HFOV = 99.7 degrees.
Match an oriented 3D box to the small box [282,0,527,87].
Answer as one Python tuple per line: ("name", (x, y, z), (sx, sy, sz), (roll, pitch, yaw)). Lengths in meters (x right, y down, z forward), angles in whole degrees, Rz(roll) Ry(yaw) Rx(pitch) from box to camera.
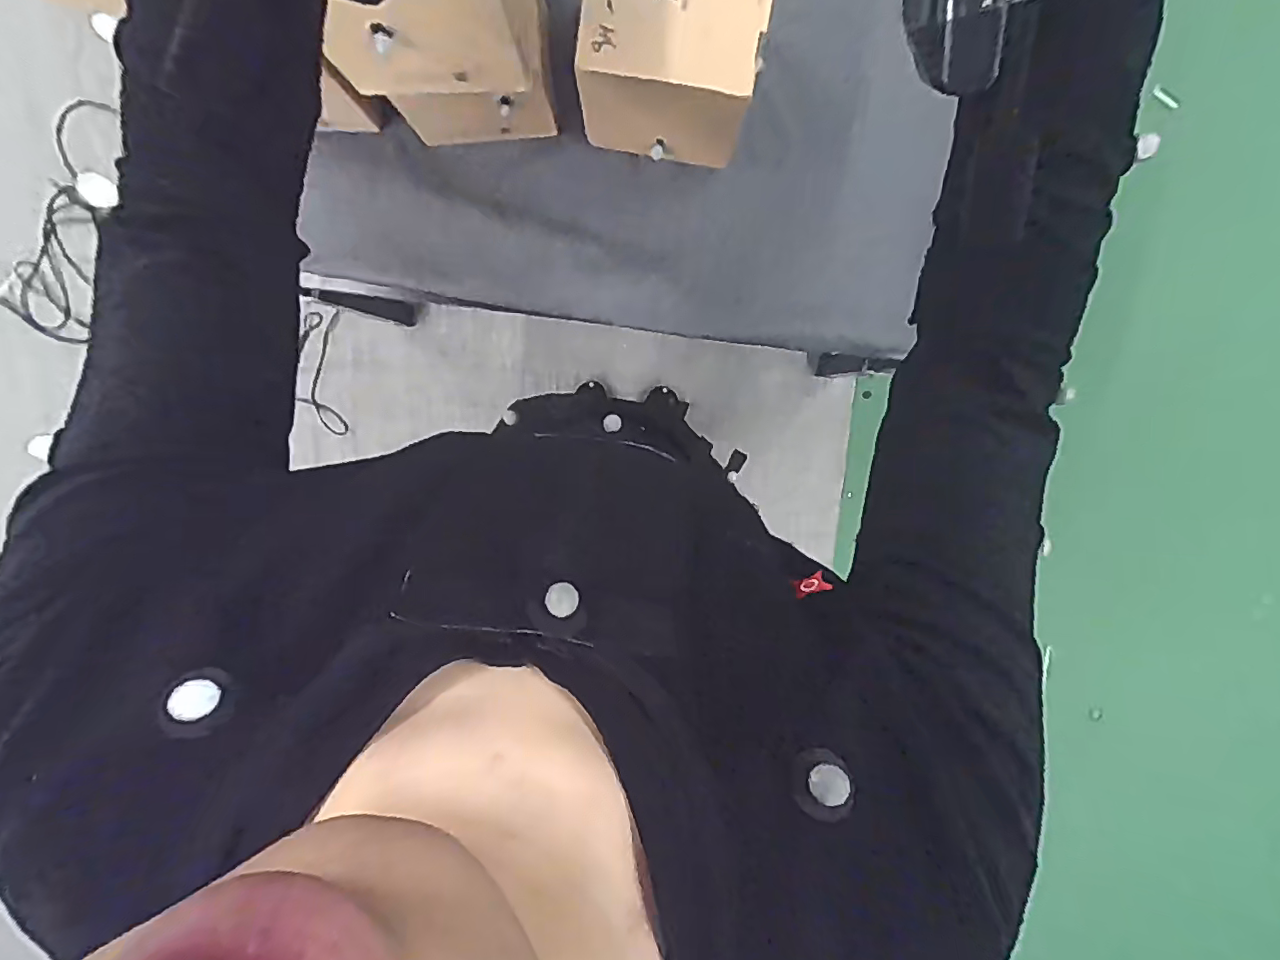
("small box", (-0.187, -0.442, 0.423), (0.168, 0.176, 0.179), (-2, 99, -2))
